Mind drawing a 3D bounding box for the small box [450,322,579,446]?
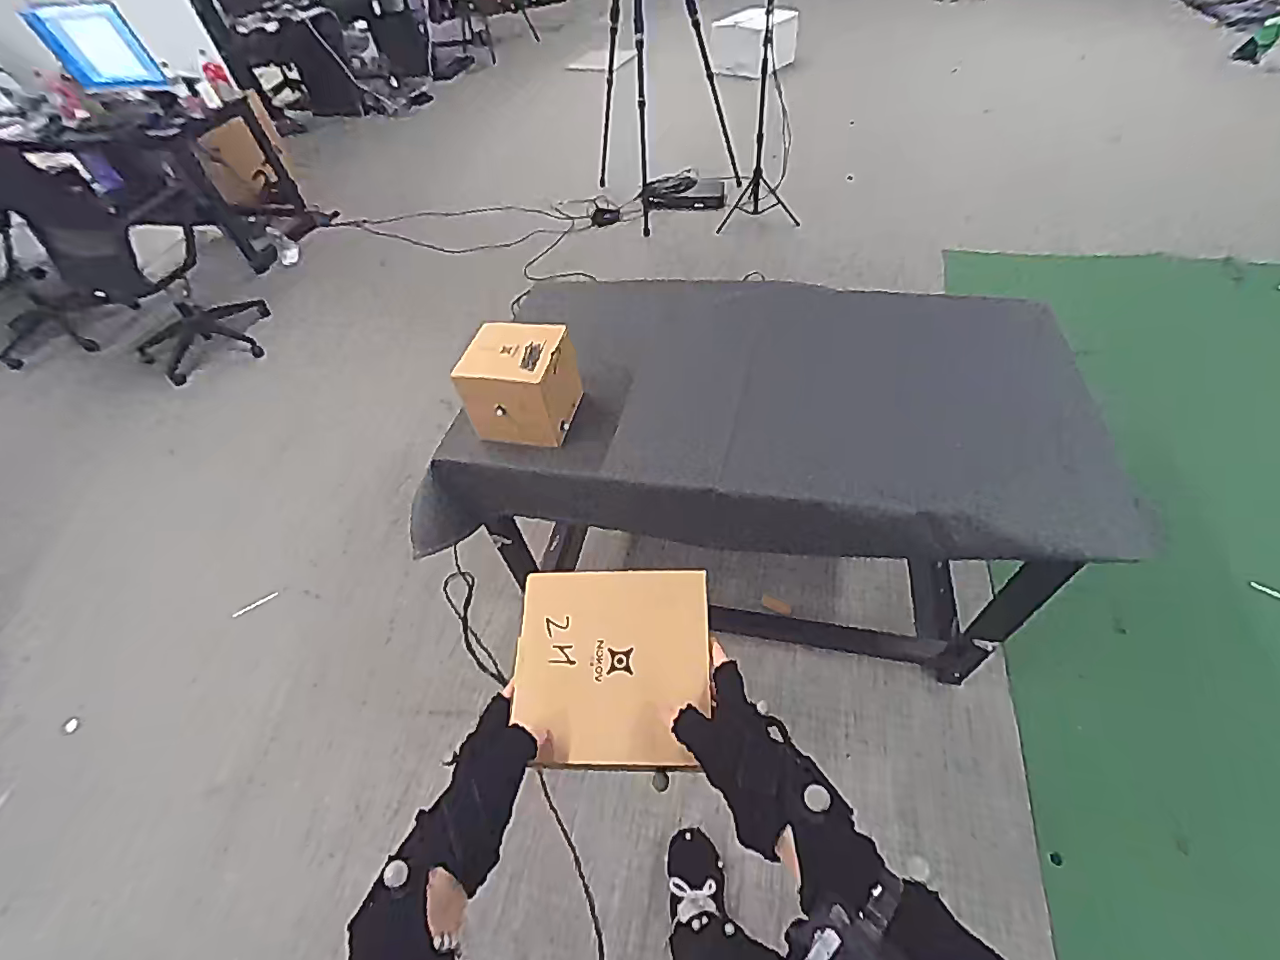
[{"bbox_3d":[-0.230,-0.183,1.051,0.179,0.176,0.168,6,52,12],"label":"small box"}]
